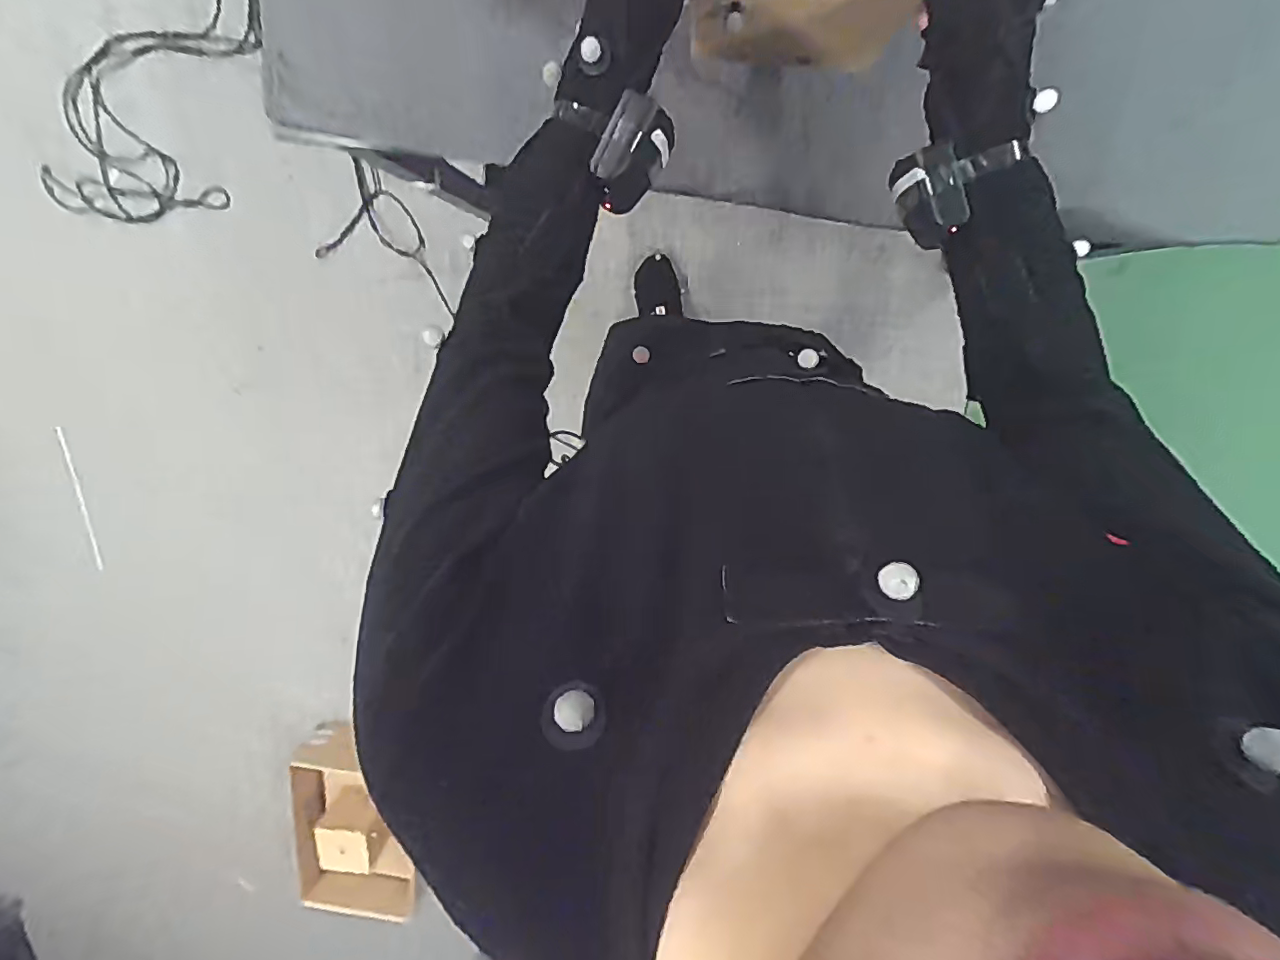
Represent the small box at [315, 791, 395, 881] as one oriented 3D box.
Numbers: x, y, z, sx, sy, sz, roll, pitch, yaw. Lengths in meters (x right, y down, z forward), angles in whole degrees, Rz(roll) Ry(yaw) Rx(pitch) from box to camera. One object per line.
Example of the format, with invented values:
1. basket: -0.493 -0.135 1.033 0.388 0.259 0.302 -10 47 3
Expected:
1. small box: -0.924 1.160 1.768 0.168 0.176 0.179 3 107 4
